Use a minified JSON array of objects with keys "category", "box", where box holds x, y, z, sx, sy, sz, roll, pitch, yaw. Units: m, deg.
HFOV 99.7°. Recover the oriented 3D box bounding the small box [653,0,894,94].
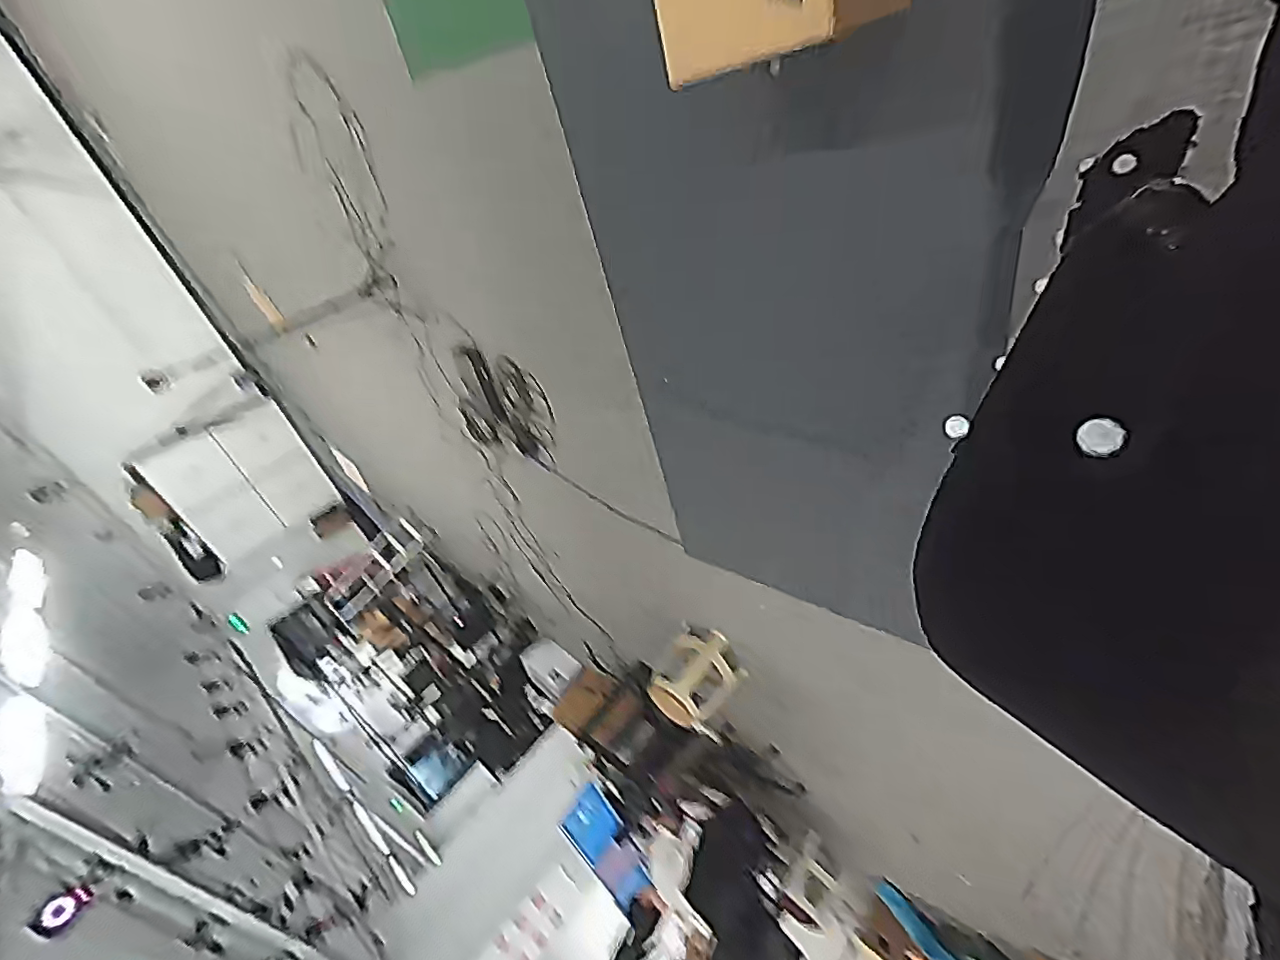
[{"category":"small box","box":[0.125,-0.488,0.498,0.179,0.176,0.168,18,138,42]}]
